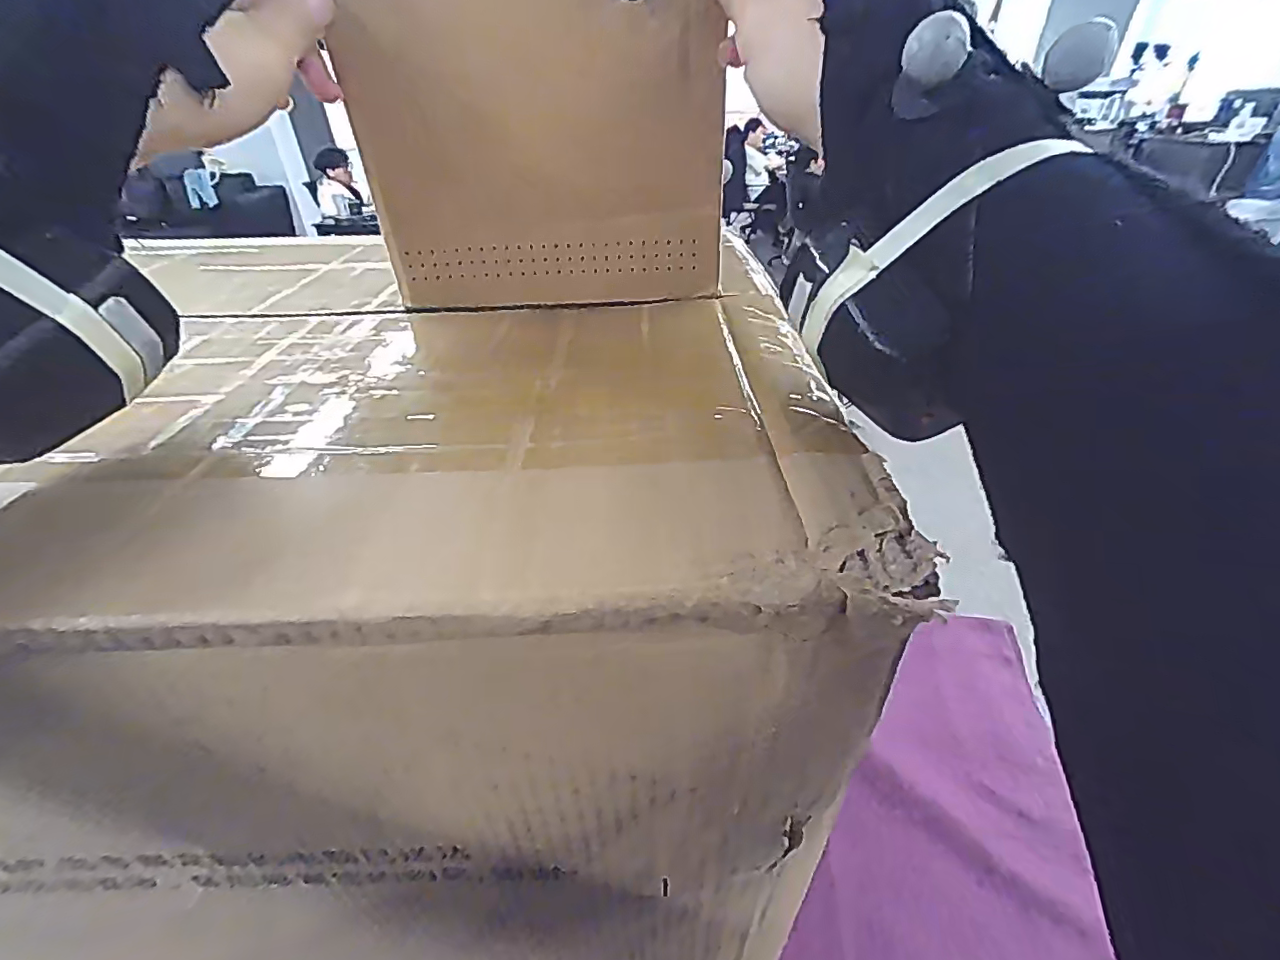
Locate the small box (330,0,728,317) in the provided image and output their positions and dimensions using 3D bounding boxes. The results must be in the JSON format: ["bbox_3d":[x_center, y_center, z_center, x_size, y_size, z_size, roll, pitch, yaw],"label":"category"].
[{"bbox_3d":[-0.045,-0.200,0.313,0.179,0.176,0.168,-1,35,1],"label":"small box"}]
